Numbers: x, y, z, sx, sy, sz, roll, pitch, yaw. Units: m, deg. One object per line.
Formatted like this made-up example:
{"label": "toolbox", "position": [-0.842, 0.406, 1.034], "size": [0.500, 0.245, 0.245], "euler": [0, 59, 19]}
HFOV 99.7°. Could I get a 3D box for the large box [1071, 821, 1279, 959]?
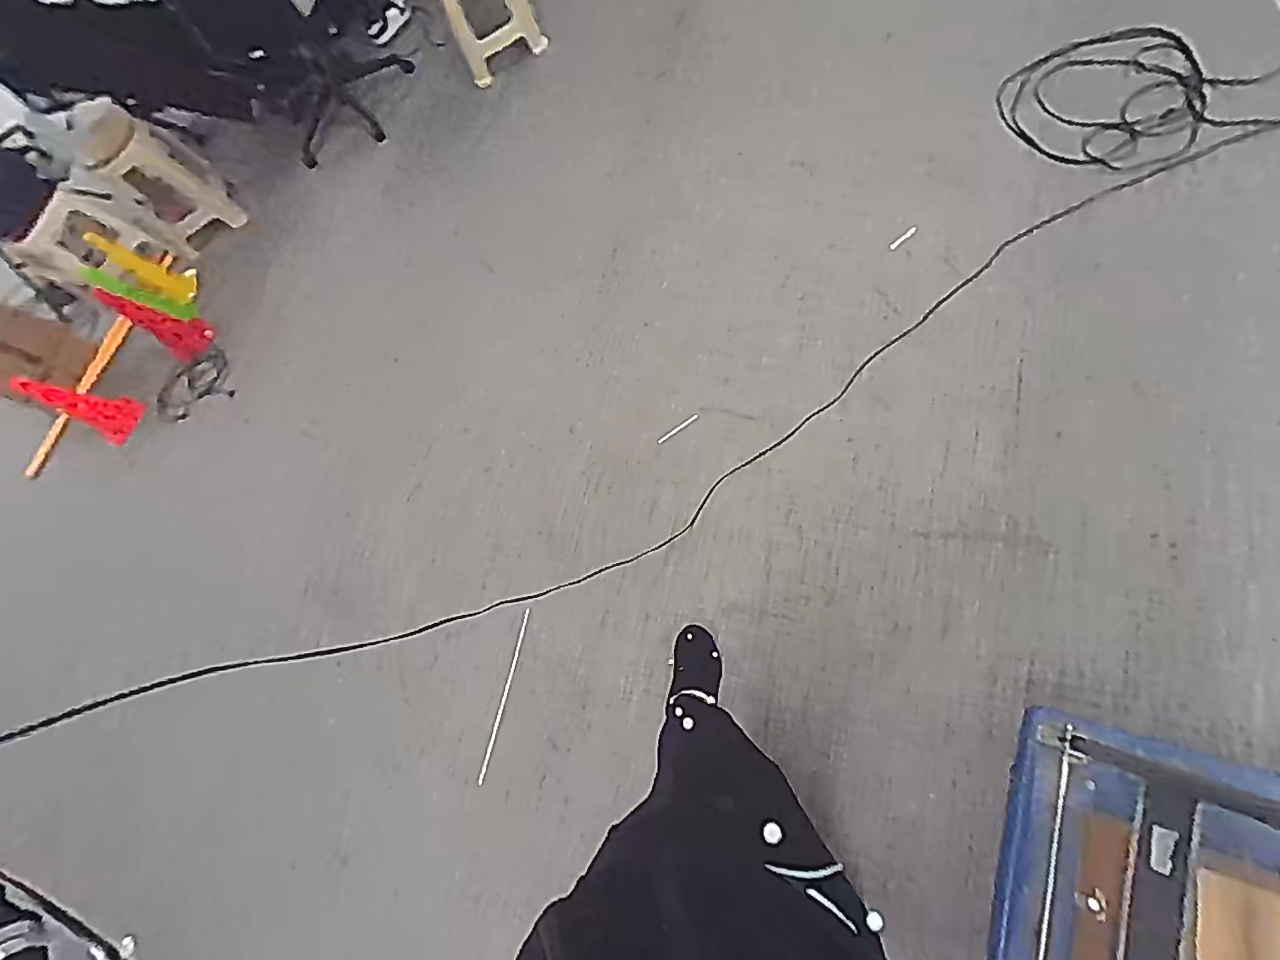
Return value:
{"label": "large box", "position": [0.912, 0.751, 0.759], "size": [0.408, 0.320, 0.320], "euler": [12, 76, 19]}
